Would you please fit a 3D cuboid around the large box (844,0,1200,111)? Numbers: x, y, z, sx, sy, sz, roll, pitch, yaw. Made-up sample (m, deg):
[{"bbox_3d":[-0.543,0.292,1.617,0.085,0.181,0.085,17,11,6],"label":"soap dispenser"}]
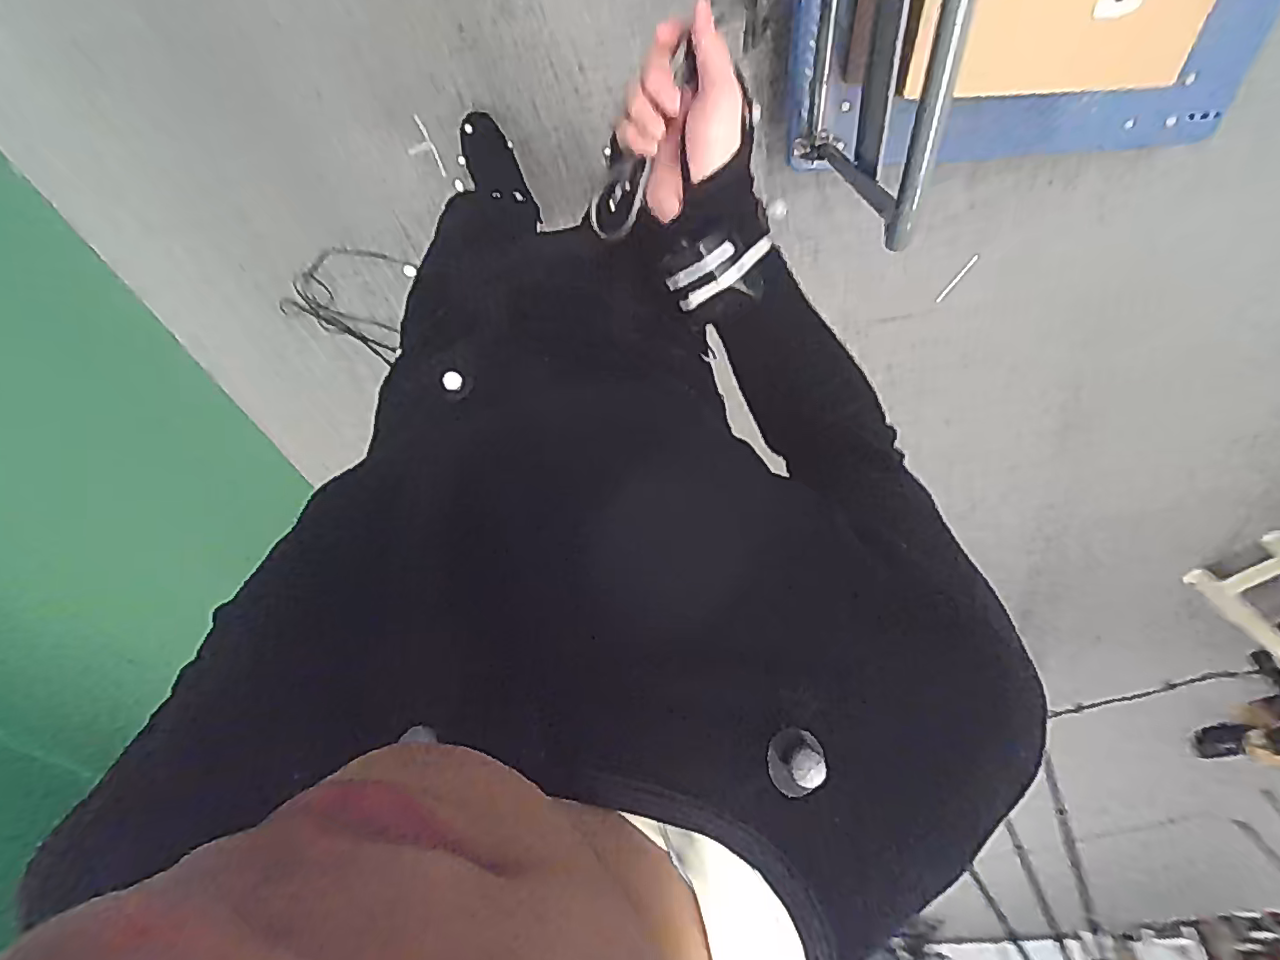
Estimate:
[{"bbox_3d":[0.591,-0.798,0.860,0.408,0.320,0.320,-2,130,1],"label":"large box"}]
